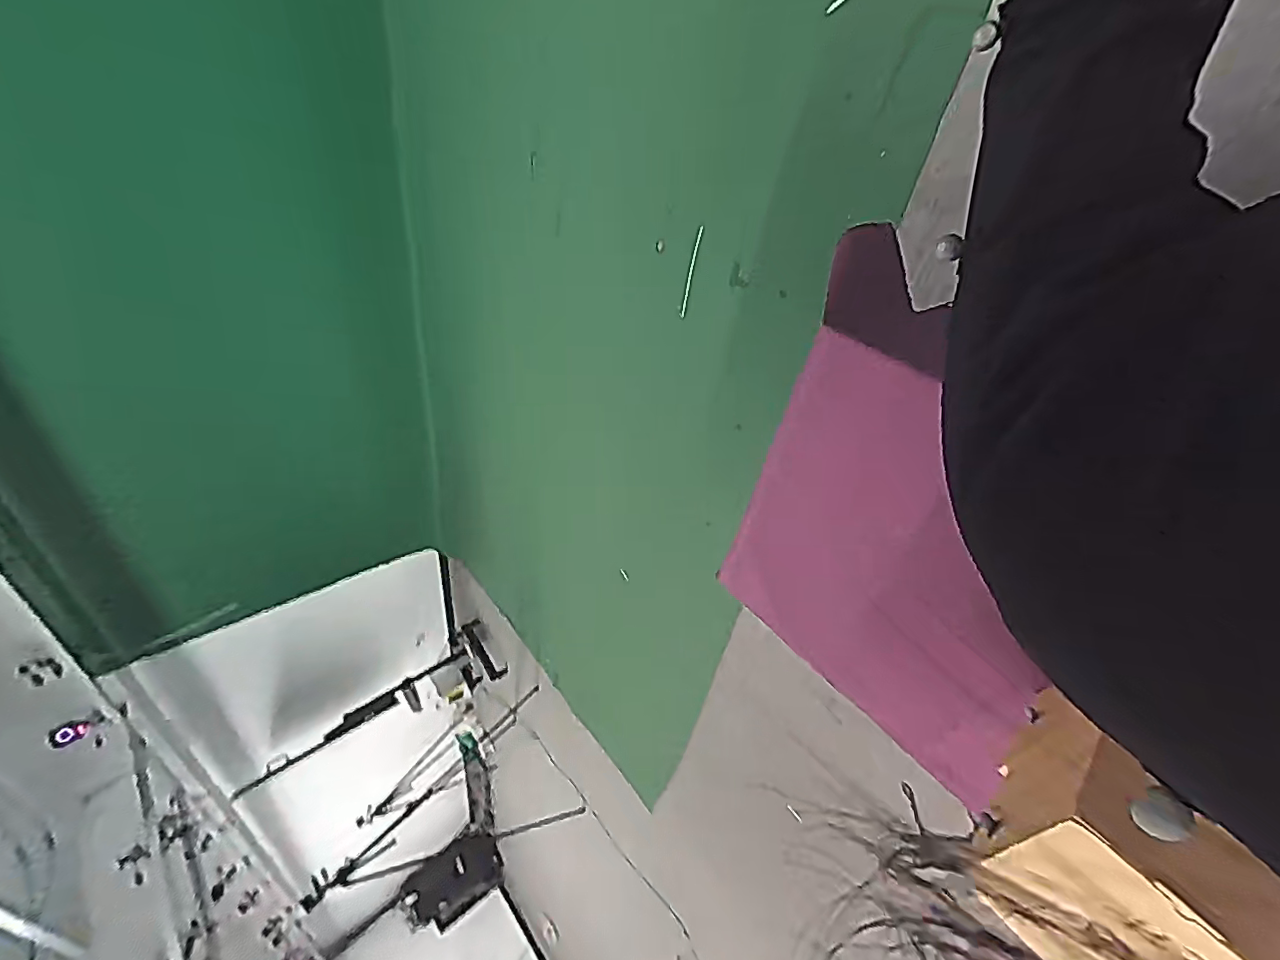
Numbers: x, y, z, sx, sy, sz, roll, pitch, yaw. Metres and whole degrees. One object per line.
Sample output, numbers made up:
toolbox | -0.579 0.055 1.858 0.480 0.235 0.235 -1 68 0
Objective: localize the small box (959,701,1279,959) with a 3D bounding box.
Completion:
small box | 0.451 0.350 0.505 0.168 0.176 0.179 42 136 29
